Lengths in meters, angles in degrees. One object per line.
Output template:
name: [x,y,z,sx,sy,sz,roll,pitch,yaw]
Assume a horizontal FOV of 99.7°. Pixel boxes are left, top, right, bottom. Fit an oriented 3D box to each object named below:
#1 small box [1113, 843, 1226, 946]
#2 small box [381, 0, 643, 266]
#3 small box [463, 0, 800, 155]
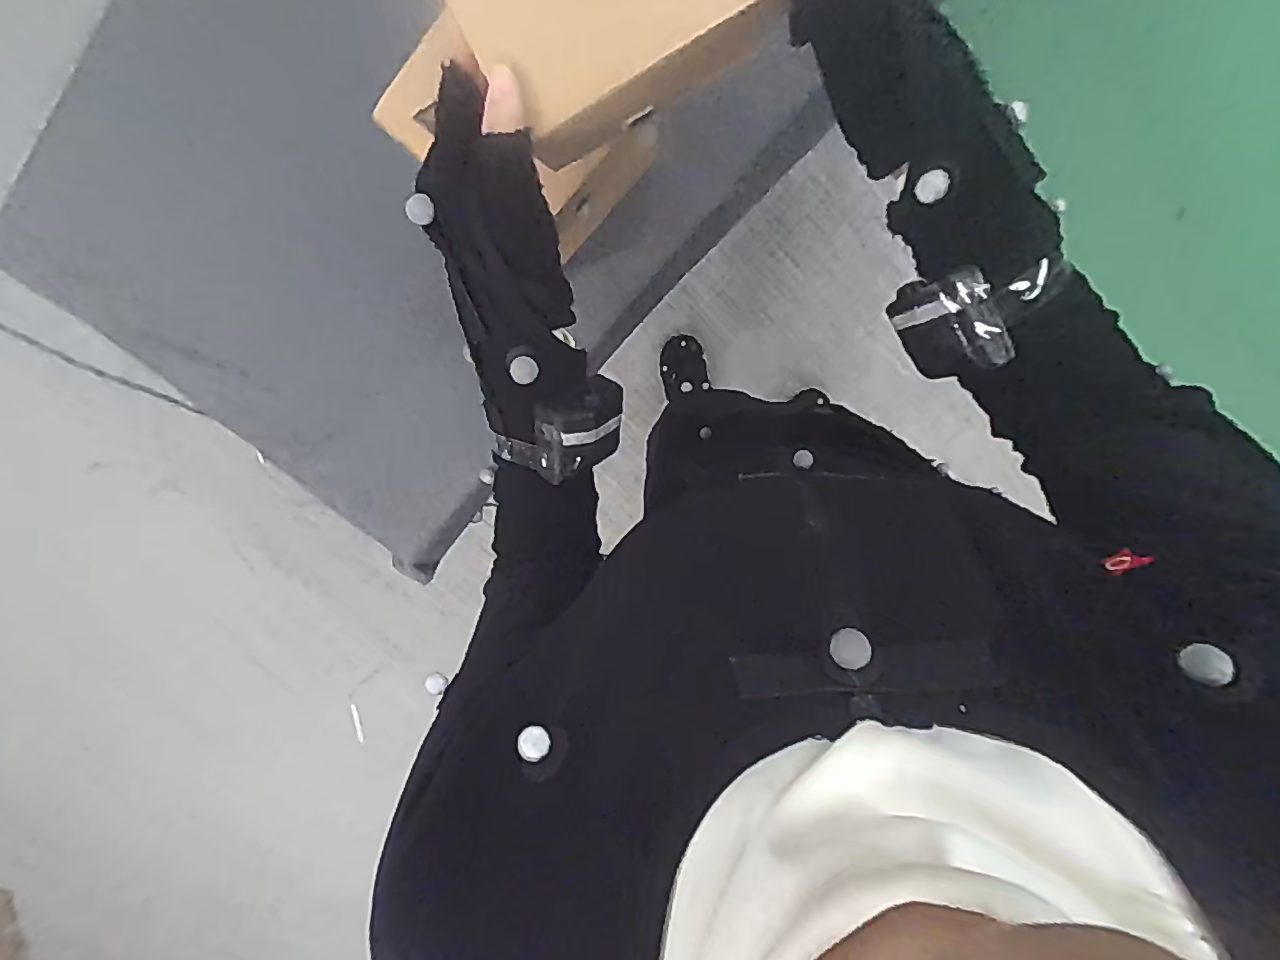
small box: [1.689,1.332,1.744,0.168,0.176,0.179,41,103,-10]
small box: [-0.107,-0.340,0.539,0.168,0.176,0.179,43,102,-11]
small box: [-0.023,-0.304,0.286,0.168,0.176,0.179,-25,115,9]
